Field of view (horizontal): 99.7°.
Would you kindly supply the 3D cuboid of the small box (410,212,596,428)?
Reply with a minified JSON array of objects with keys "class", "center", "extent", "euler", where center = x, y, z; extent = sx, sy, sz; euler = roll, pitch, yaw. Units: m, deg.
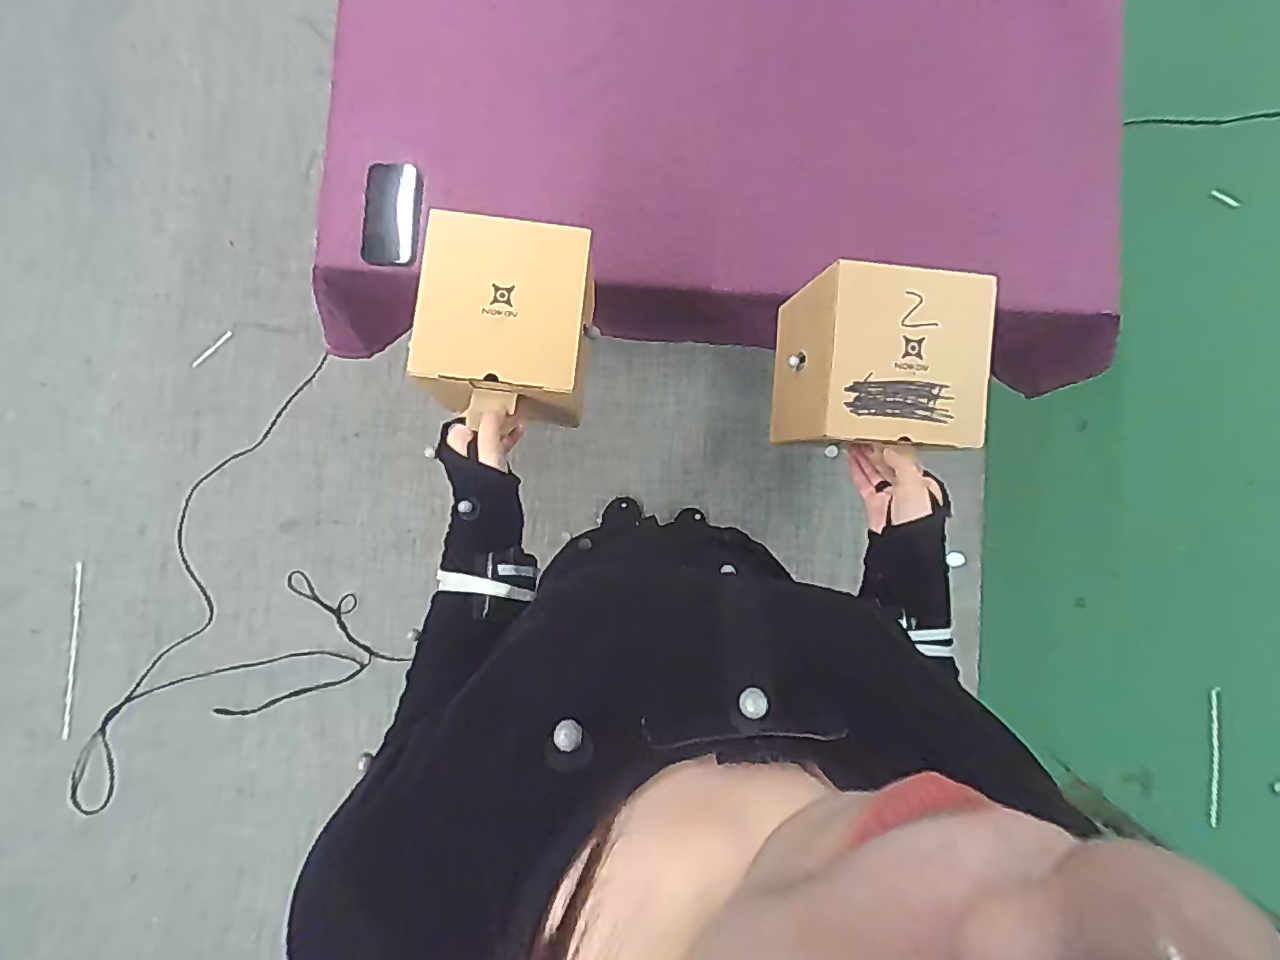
[{"class":"small box","center":[-0.143,-0.169,0.621],"extent":[0.168,0.176,0.179],"euler":[6,84,-4]}]
